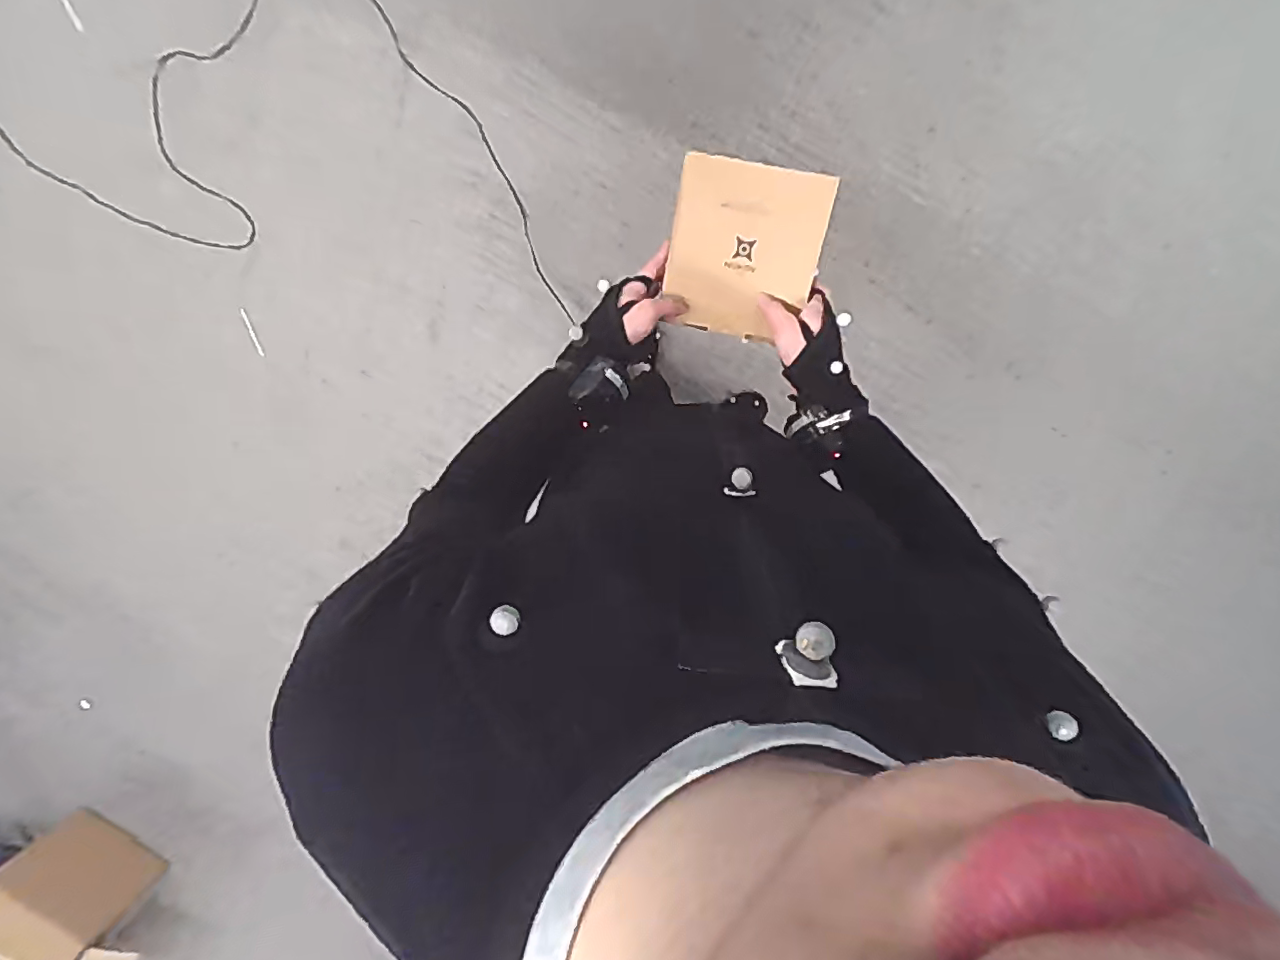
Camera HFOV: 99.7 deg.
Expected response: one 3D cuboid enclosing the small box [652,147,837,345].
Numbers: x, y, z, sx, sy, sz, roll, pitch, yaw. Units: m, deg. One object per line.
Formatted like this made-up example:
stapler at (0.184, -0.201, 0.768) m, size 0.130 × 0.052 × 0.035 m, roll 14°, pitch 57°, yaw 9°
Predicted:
small box at (0.111, -0.272, 0.652) m, size 0.168 × 0.176 × 0.179 m, roll 9°, pitch 110°, yaw -2°
